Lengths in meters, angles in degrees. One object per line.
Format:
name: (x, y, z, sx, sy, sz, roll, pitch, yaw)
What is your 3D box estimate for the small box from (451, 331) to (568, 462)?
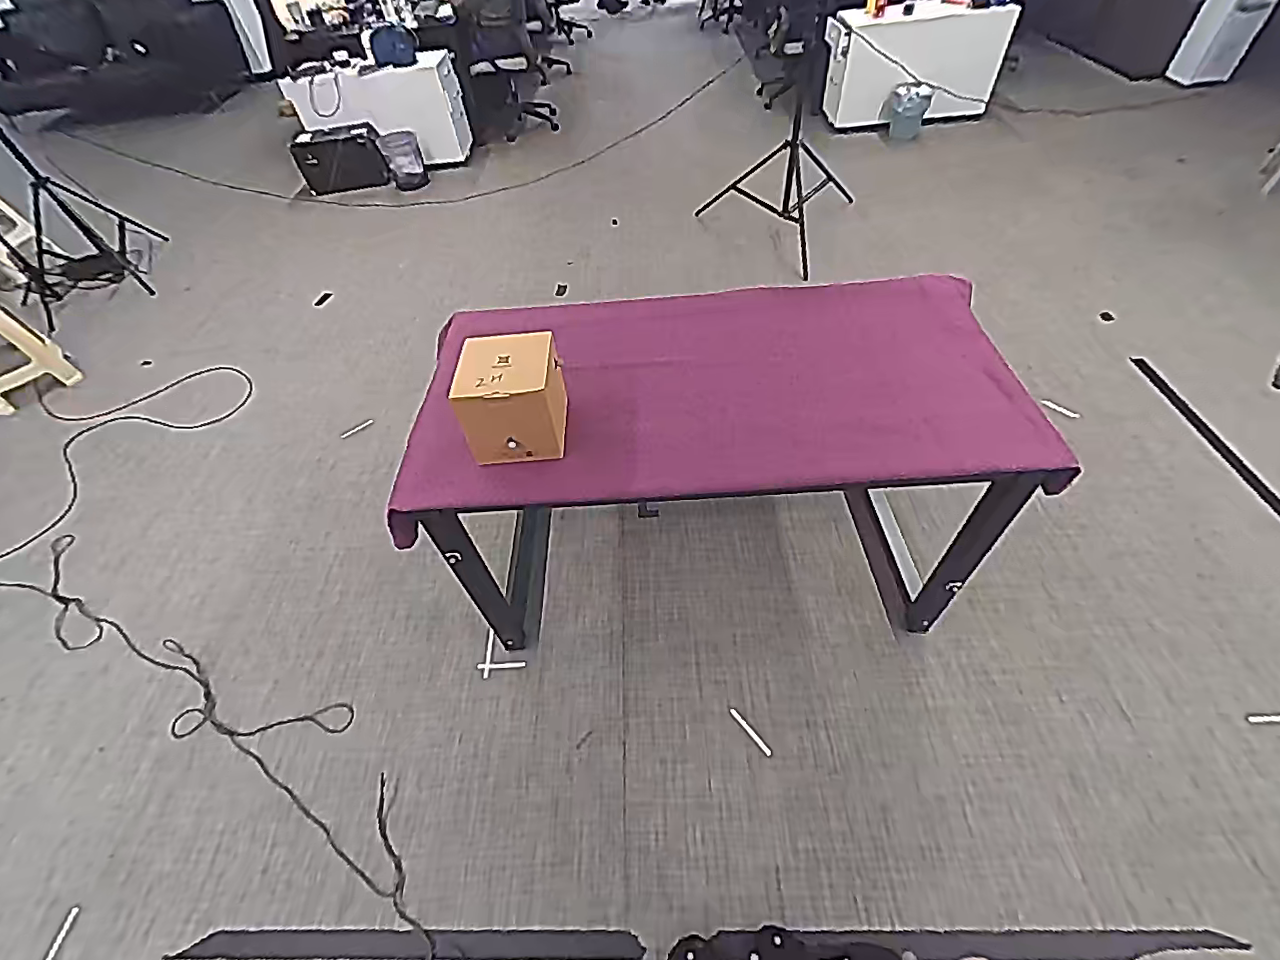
small box: (-0.234, -0.155, 1.017, 0.168, 0.176, 0.179, -5, 50, 2)
